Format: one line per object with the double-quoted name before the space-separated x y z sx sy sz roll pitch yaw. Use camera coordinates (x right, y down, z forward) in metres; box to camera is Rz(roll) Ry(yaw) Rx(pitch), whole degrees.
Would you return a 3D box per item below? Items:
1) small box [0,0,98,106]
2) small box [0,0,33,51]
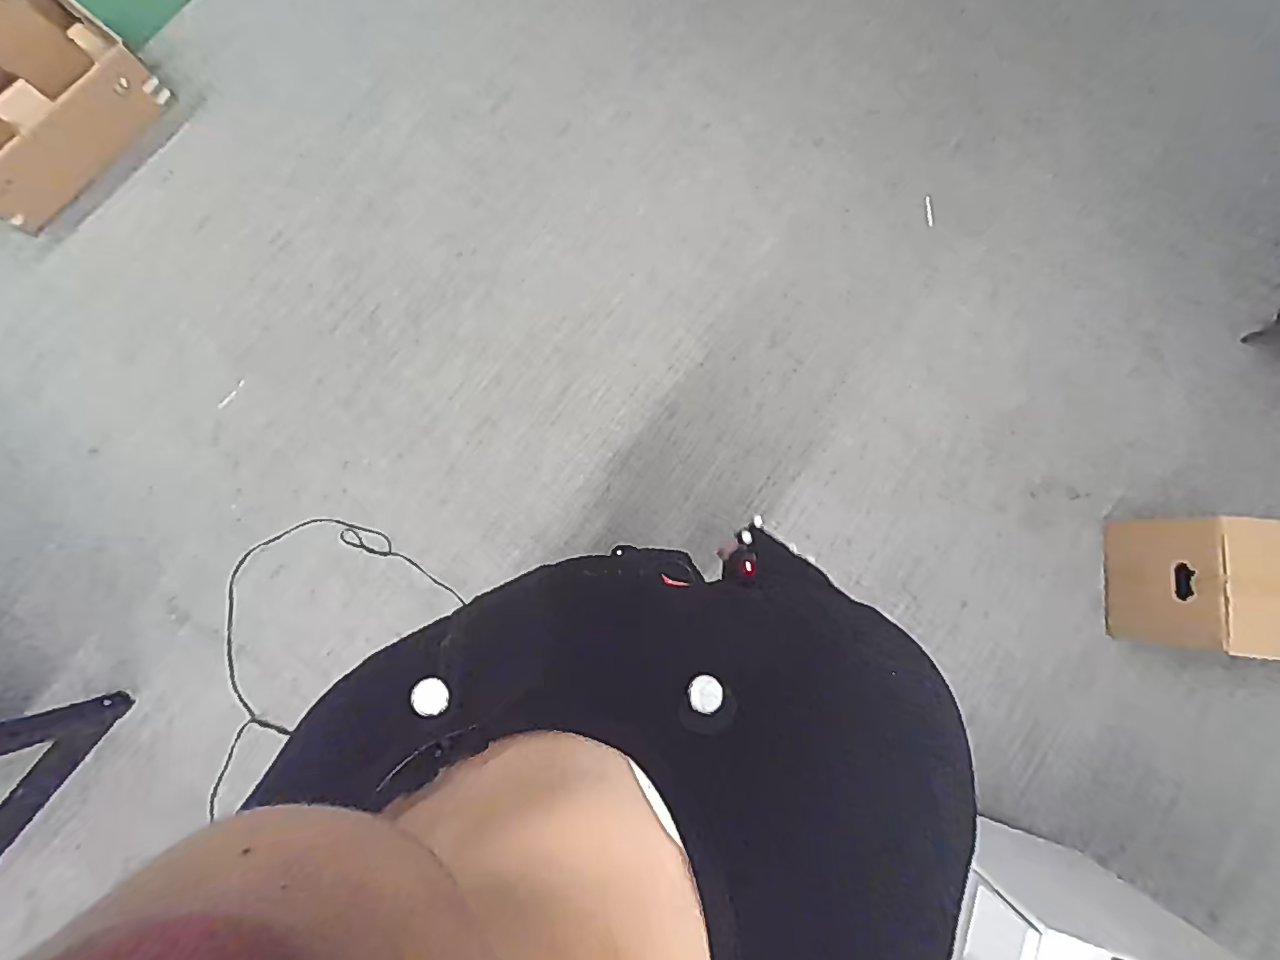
"small box" -1.712 -1.212 1.518 0.168 0.176 0.179 -44 87 -6
"small box" -1.703 -1.229 1.354 0.179 0.176 0.168 -44 86 -5
